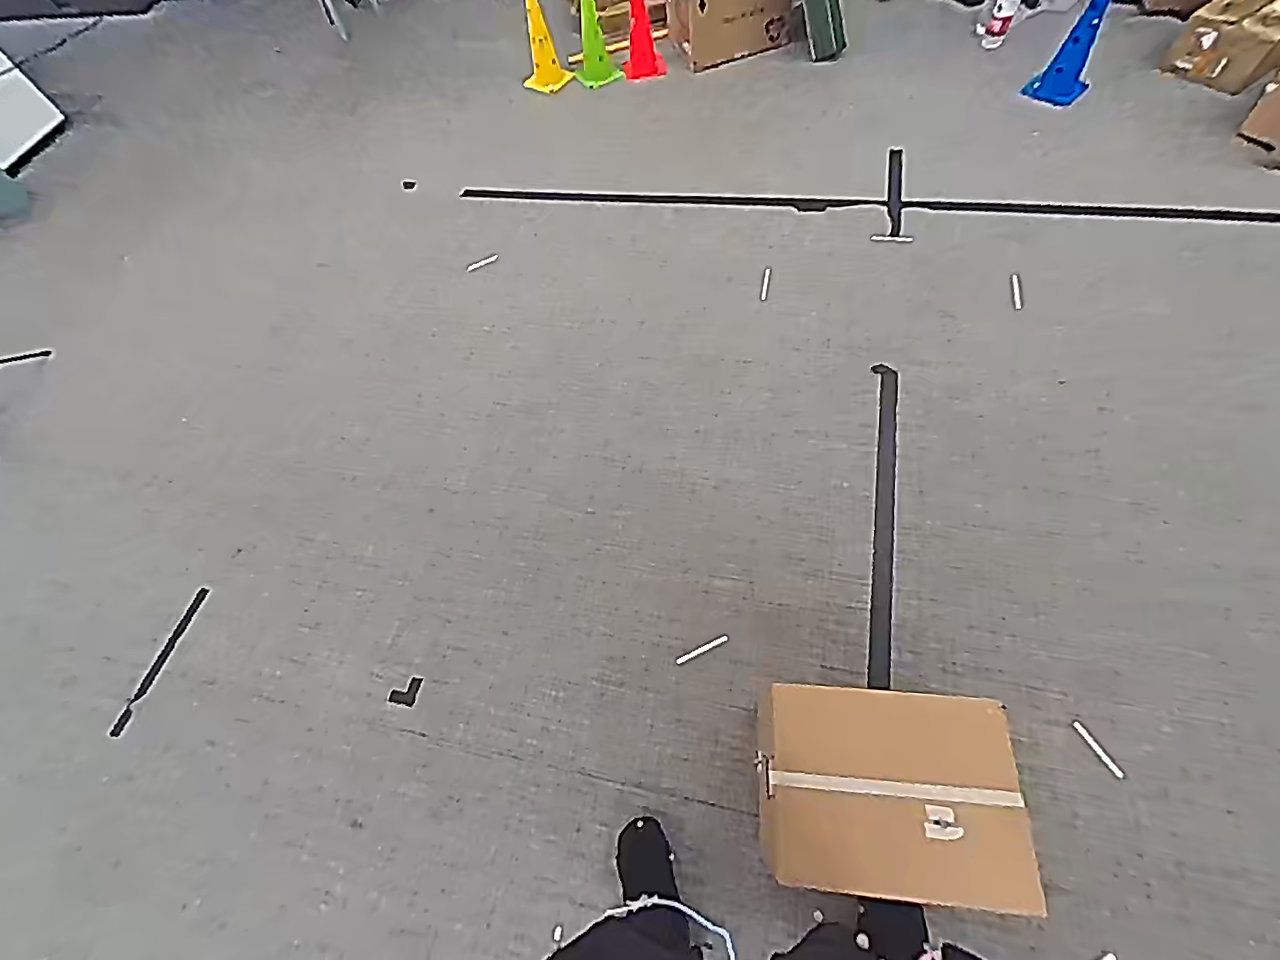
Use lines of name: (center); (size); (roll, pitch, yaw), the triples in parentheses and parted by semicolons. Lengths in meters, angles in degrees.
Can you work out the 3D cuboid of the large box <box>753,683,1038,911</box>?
large box: (0.439, 0.589, 1.048); (0.408, 0.320, 0.320); (2, 63, 7)
